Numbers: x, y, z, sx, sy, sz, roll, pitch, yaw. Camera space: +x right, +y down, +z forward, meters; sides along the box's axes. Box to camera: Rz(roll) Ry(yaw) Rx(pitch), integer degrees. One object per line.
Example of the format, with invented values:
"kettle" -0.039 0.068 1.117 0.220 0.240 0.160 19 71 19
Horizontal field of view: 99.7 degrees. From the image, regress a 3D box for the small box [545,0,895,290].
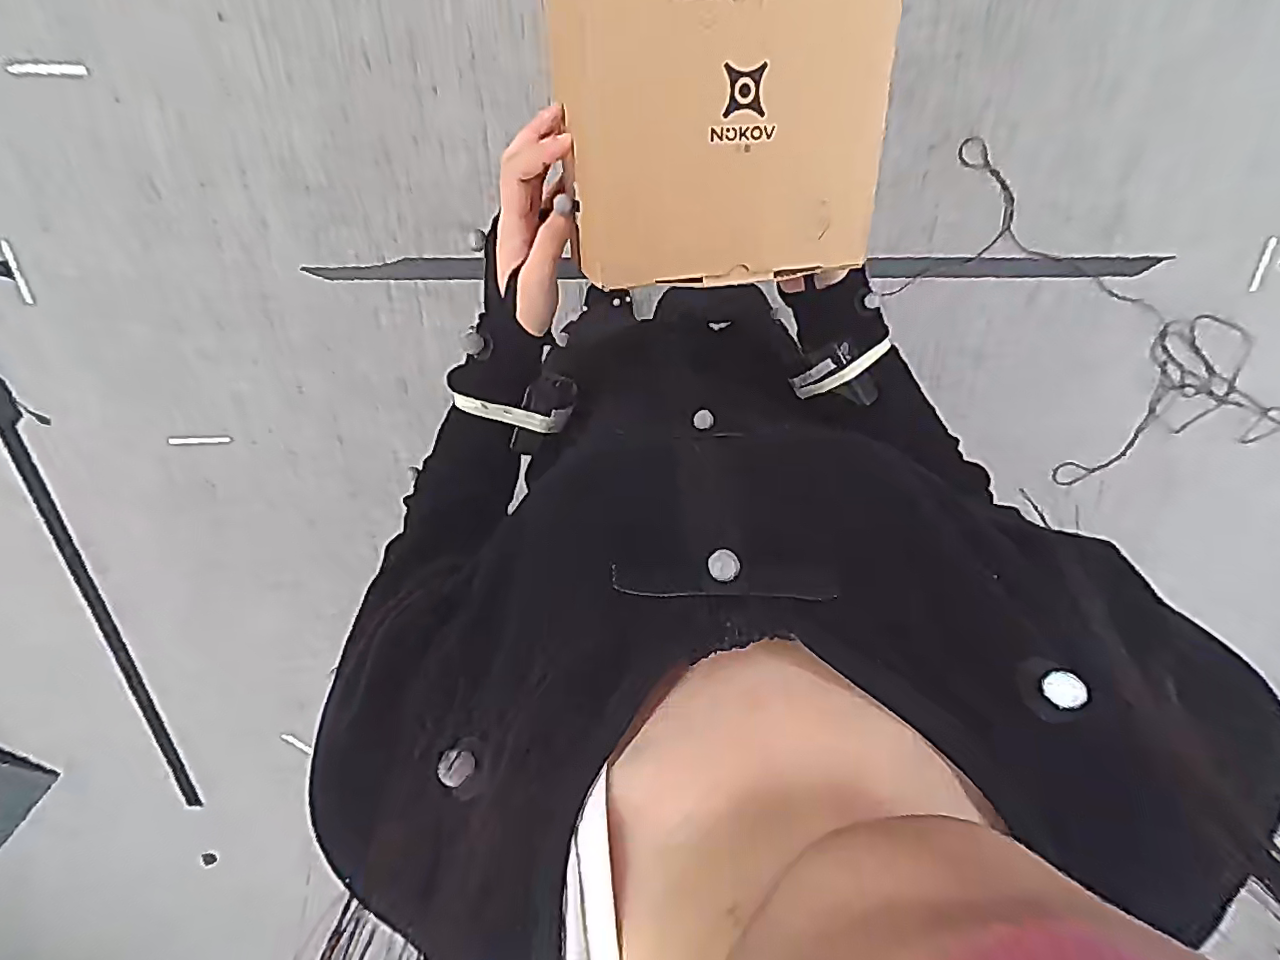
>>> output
"small box" 0.034 -0.232 0.351 0.168 0.176 0.179 -9 118 -10
